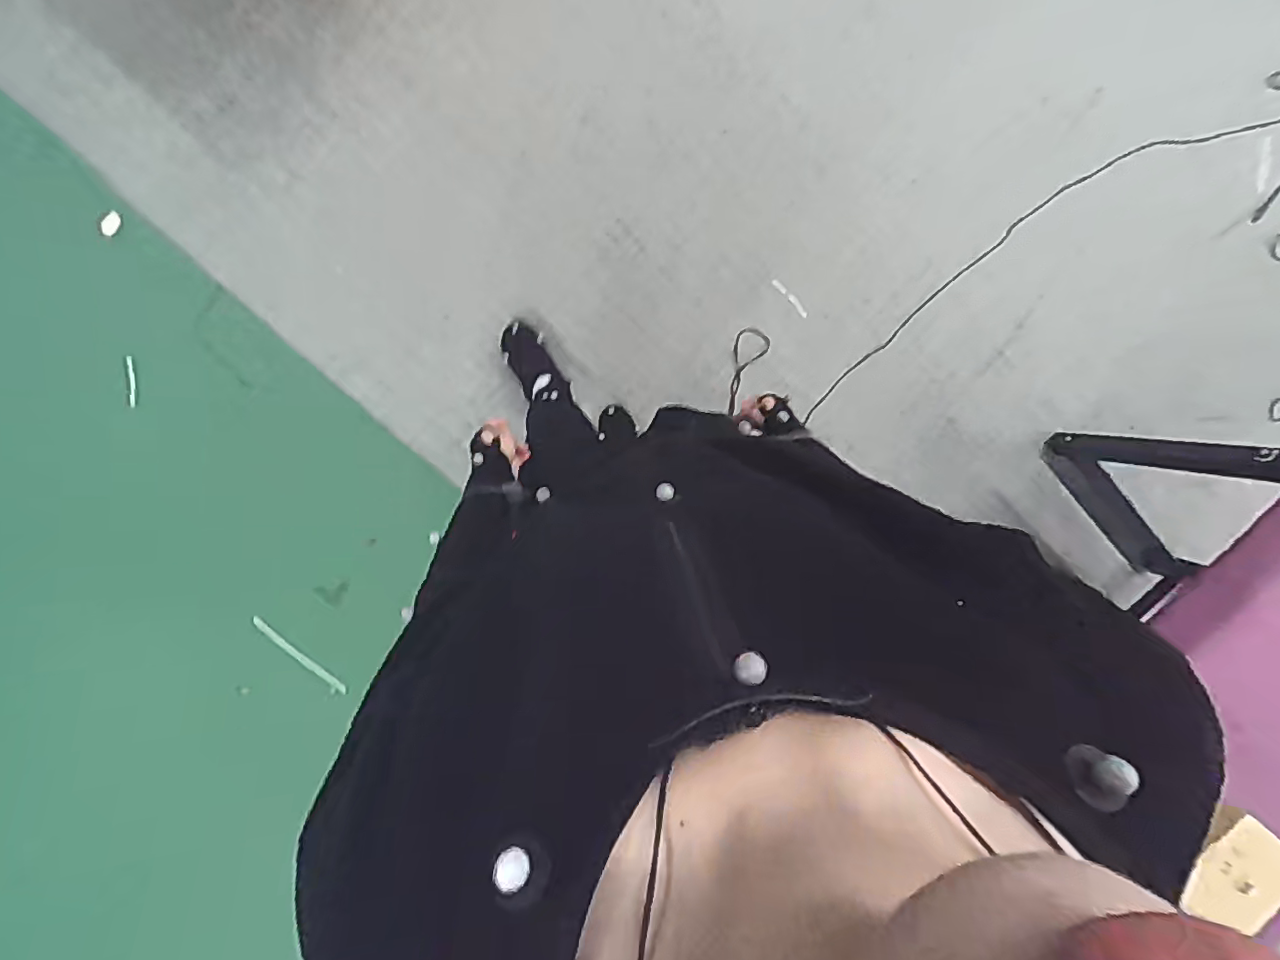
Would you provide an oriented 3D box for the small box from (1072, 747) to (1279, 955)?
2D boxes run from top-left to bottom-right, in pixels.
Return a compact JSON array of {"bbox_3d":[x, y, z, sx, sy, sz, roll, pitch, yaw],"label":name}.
[{"bbox_3d":[0.839,0.555,0.833,0.179,0.176,0.168,38,93,-10],"label":"small box"}]
